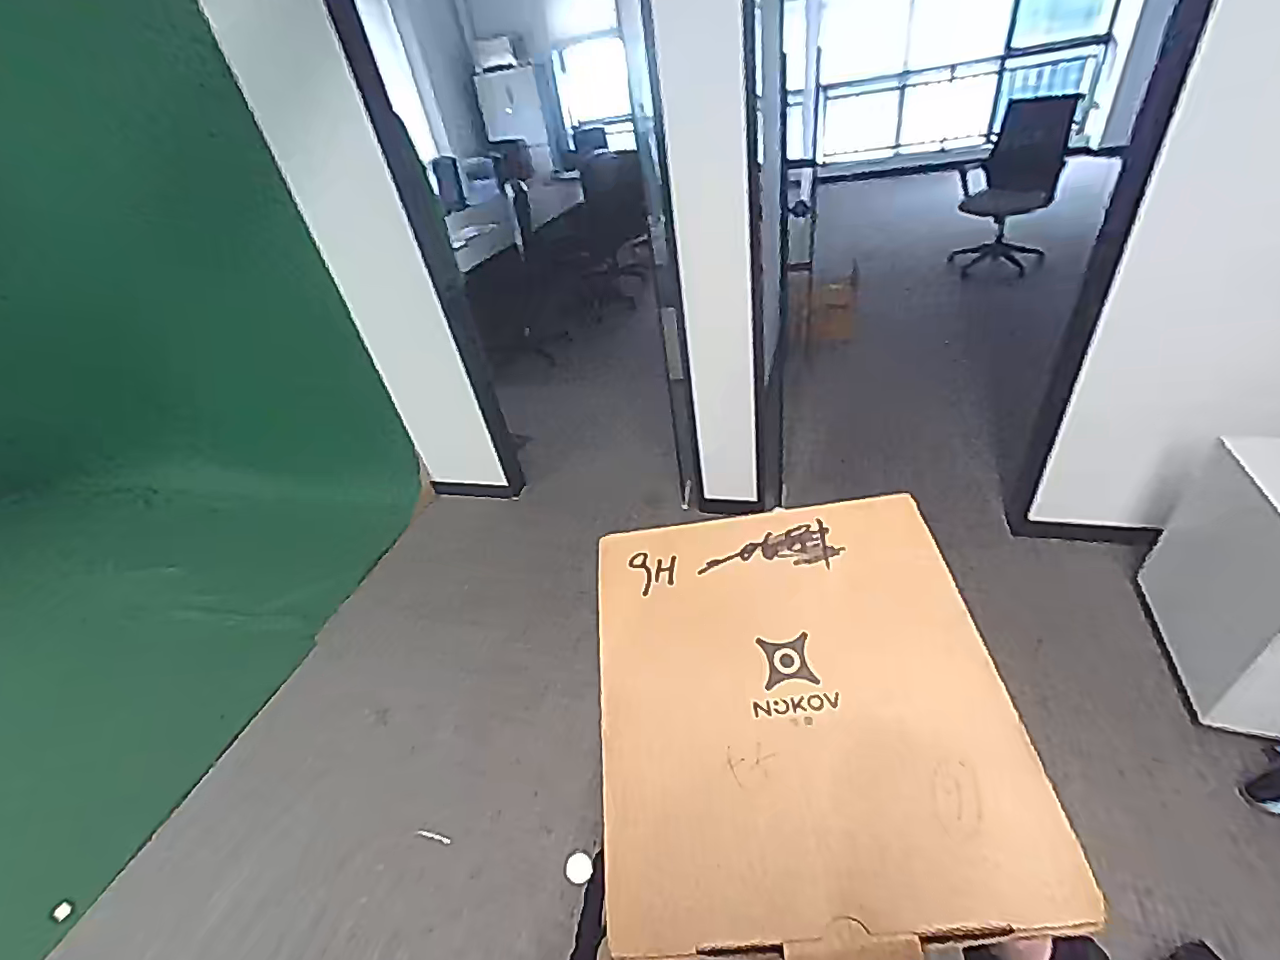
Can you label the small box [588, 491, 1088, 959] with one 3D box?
[{"bbox_3d":[0.069,0.131,0.290,0.168,0.176,0.179,-7,53,3],"label":"small box"}]
